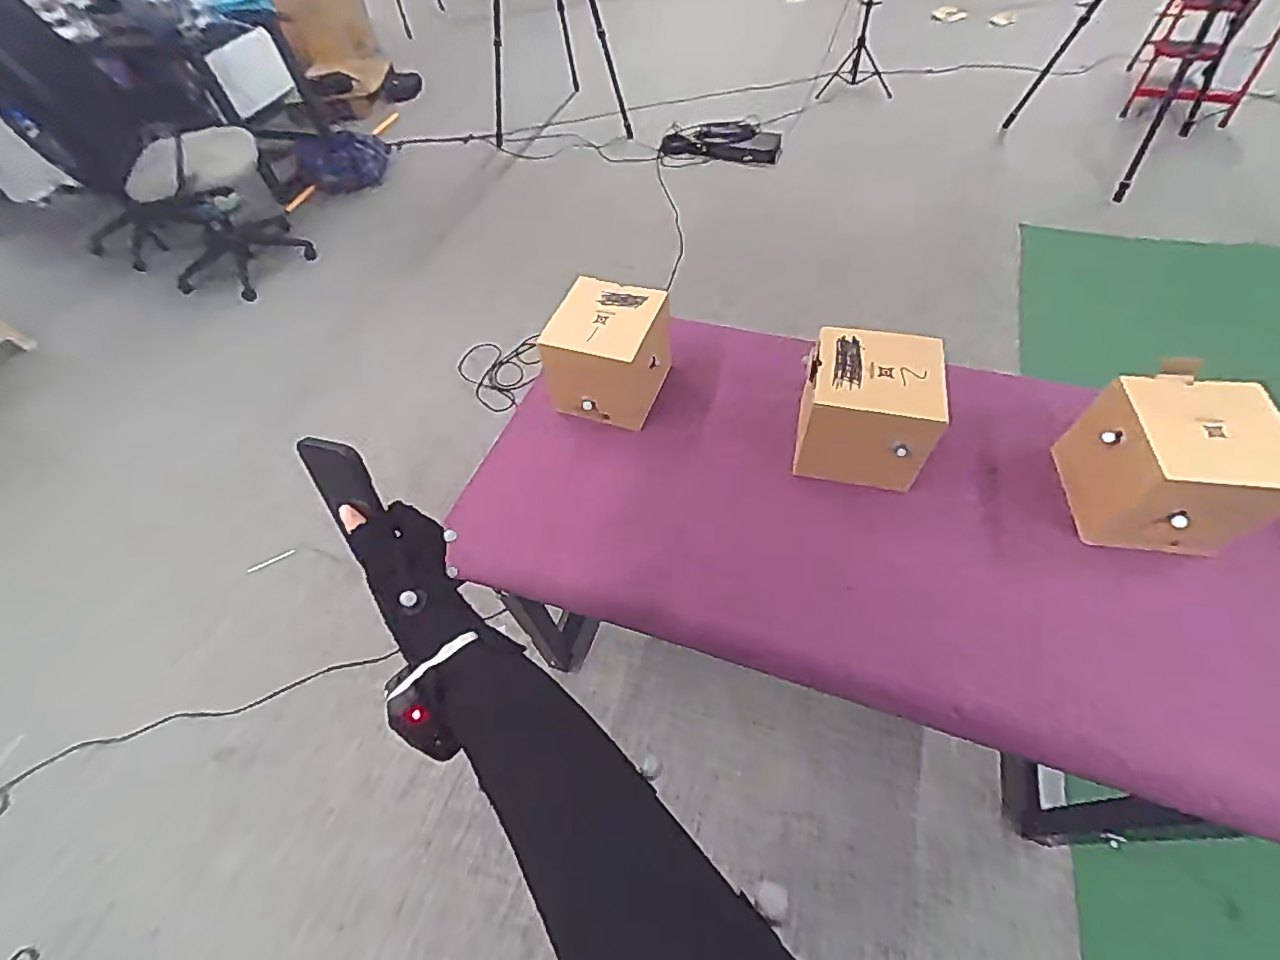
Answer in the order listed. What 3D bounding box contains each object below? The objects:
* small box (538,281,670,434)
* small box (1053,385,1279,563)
[{"bbox_3d":[-0.052,-0.210,0.937,0.168,0.176,0.179,16,59,15],"label":"small box"},{"bbox_3d":[0.708,-0.004,0.732,0.168,0.176,0.179,5,55,9],"label":"small box"}]
